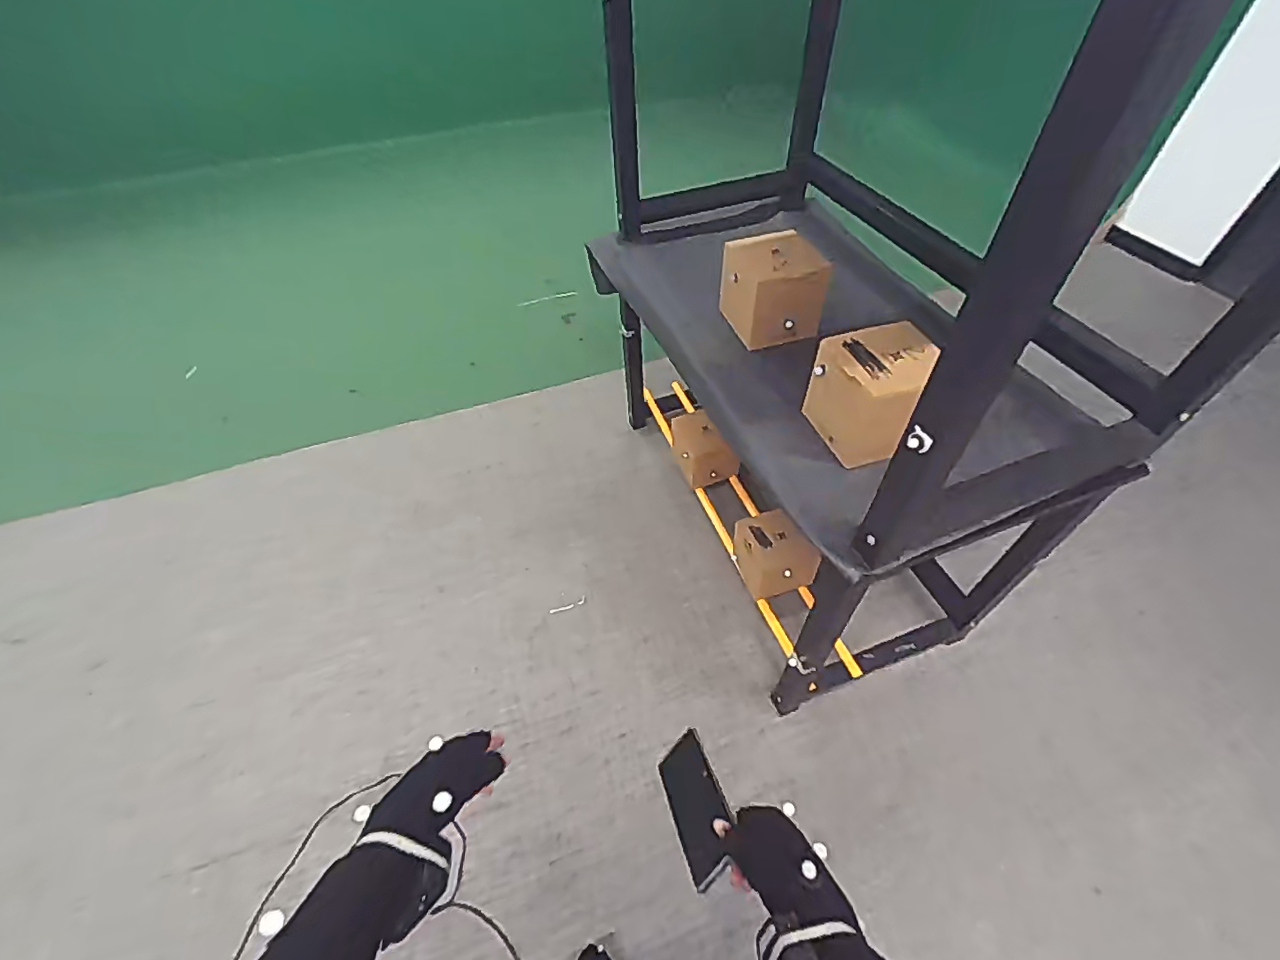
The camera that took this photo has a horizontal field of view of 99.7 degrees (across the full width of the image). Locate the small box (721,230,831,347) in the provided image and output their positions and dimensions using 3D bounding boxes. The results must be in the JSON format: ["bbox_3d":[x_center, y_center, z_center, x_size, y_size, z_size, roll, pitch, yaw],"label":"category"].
[{"bbox_3d":[0.288,-0.420,1.190,0.168,0.176,0.179,-15,51,-9],"label":"small box"}]

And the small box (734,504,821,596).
[{"bbox_3d":[0.367,0.196,1.483,0.179,0.176,0.168,-15,51,-9],"label":"small box"}]
